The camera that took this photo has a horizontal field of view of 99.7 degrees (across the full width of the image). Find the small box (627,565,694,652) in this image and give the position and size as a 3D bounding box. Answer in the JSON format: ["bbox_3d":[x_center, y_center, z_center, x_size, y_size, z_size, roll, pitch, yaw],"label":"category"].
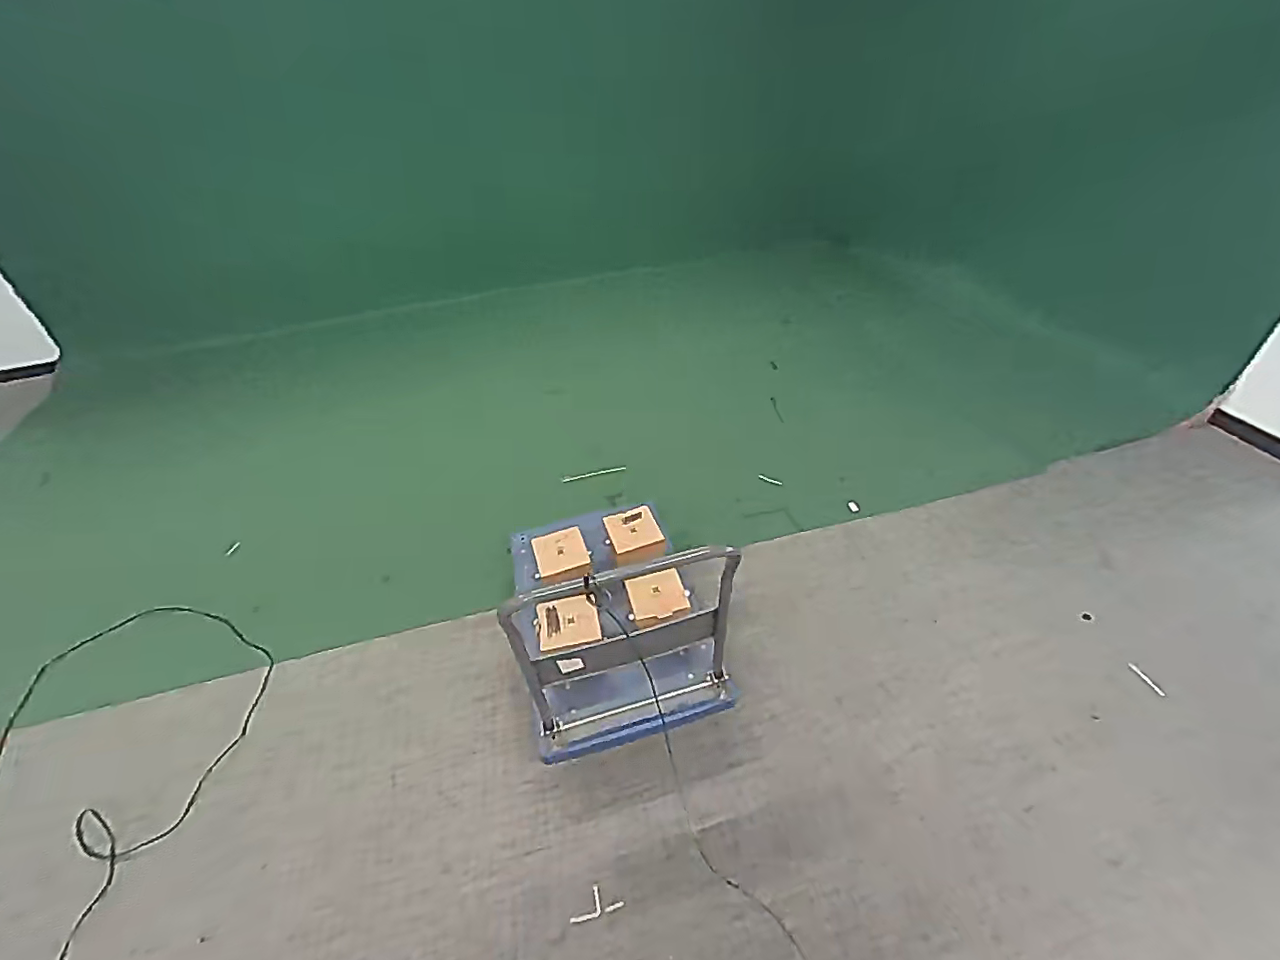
[{"bbox_3d":[0.060,0.394,1.660,0.168,0.176,0.179,-12,42,-8],"label":"small box"}]

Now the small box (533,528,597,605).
[{"bbox_3d":[-0.247,0.295,1.808,0.168,0.176,0.179,-15,42,-12],"label":"small box"}]

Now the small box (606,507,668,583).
[{"bbox_3d":[-0.010,0.226,1.859,0.168,0.176,0.179,-16,43,-11],"label":"small box"}]
